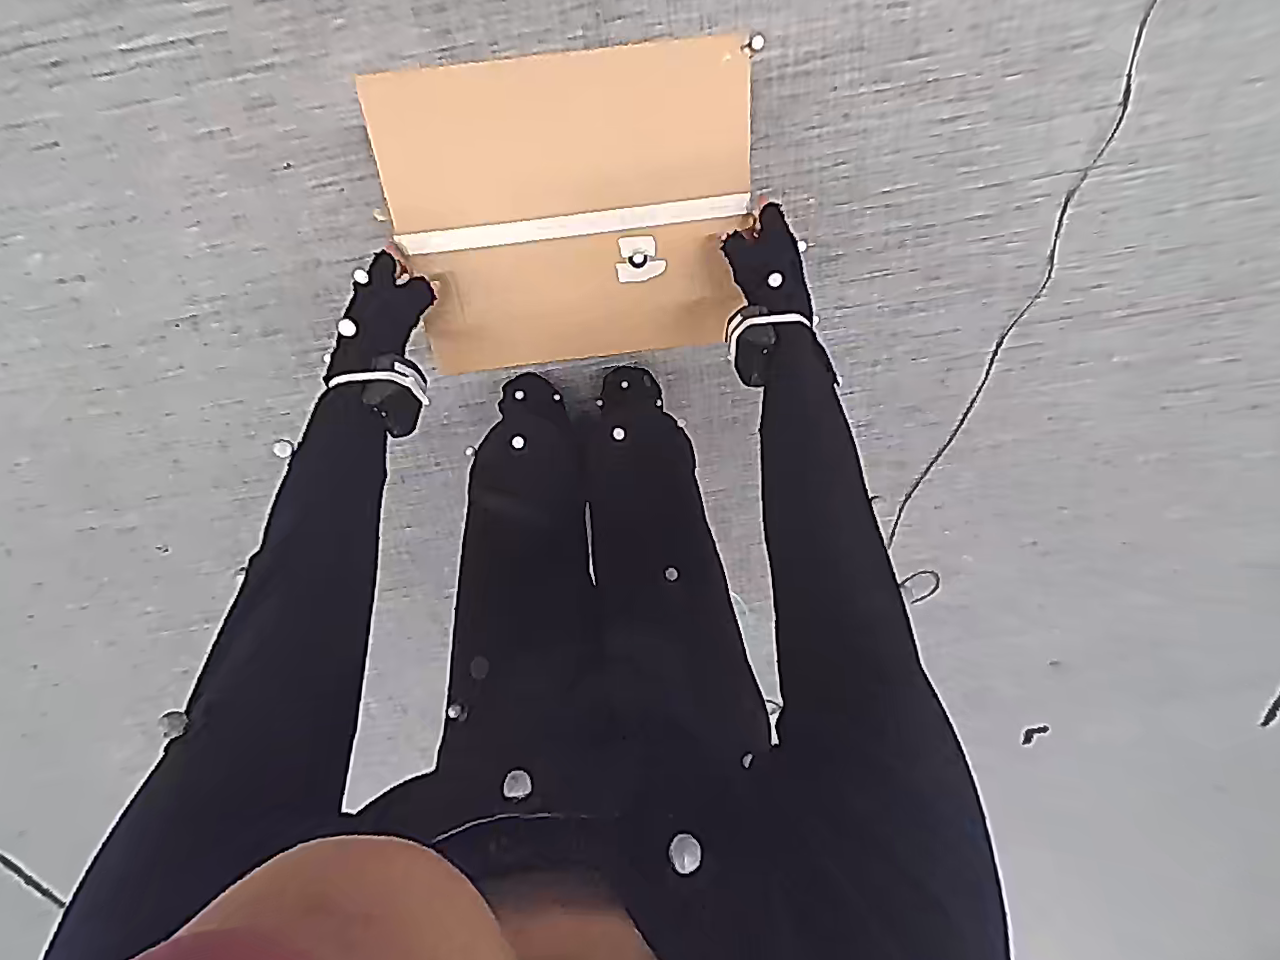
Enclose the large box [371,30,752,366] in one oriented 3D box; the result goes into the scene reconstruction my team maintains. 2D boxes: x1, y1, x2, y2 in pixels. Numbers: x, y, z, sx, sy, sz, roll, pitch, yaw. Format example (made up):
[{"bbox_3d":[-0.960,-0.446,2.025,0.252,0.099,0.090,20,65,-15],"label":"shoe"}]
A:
[{"bbox_3d":[-0.080,-0.375,0.762,0.408,0.320,0.320,-7,119,-1],"label":"large box"}]
